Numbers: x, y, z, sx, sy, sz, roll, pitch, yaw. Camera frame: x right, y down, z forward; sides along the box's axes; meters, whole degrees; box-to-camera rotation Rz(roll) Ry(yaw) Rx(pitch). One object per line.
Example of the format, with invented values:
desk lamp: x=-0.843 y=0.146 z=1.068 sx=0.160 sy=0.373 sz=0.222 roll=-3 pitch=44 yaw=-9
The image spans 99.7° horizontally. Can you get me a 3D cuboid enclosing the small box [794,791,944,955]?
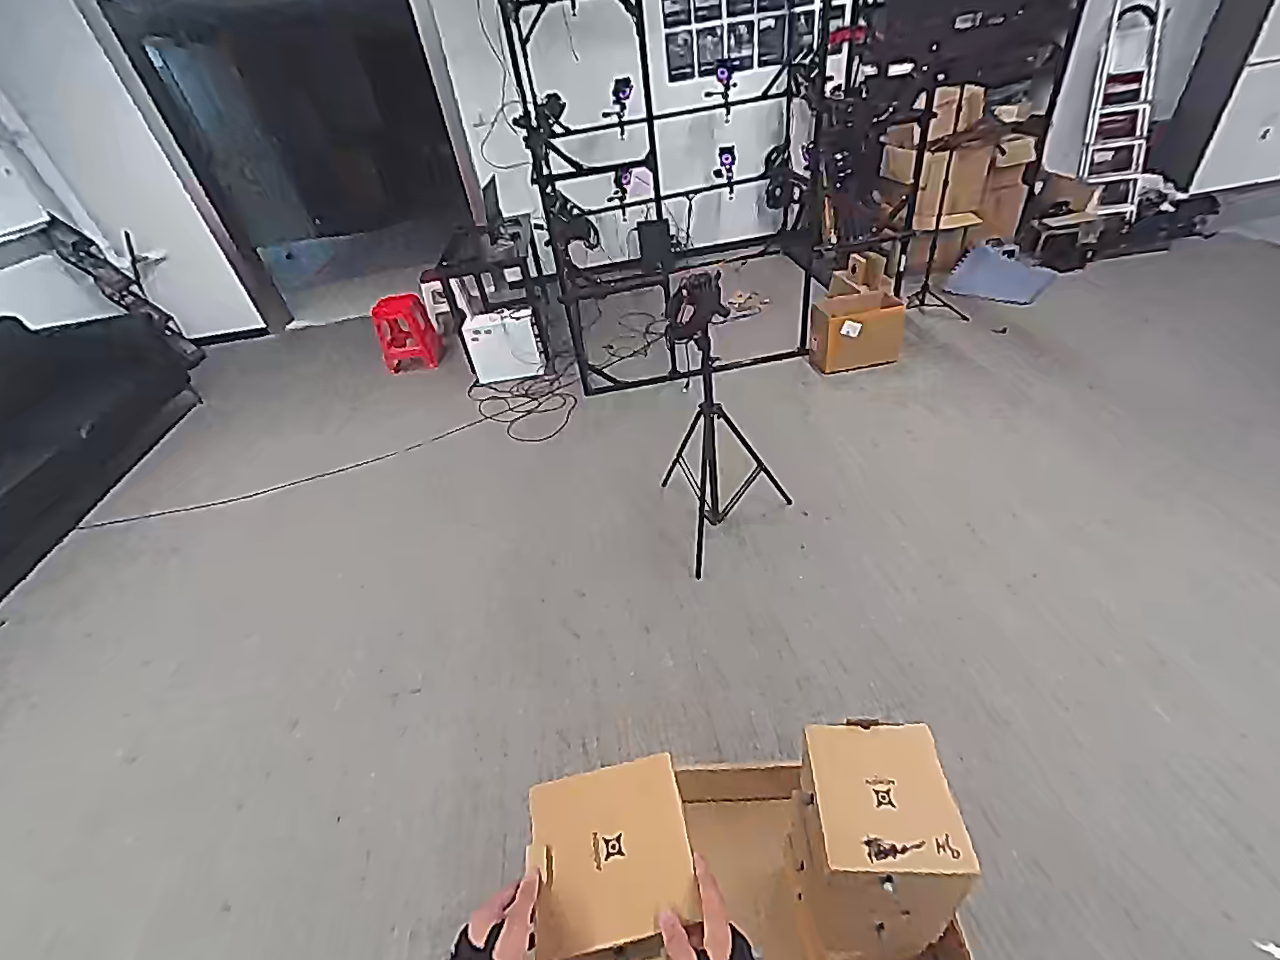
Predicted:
small box: x=0.336 y=0.579 z=0.807 sx=0.179 sy=0.176 sz=0.168 roll=-8 pitch=37 yaw=4

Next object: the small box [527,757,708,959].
small box: x=-0.023 y=0.454 z=0.631 sx=0.179 sy=0.176 sz=0.168 roll=-14 pitch=43 yaw=-1

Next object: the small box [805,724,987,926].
small box: x=0.314 y=0.448 z=0.710 sx=0.168 sy=0.176 sz=0.179 roll=-5 pitch=37 yaw=9
